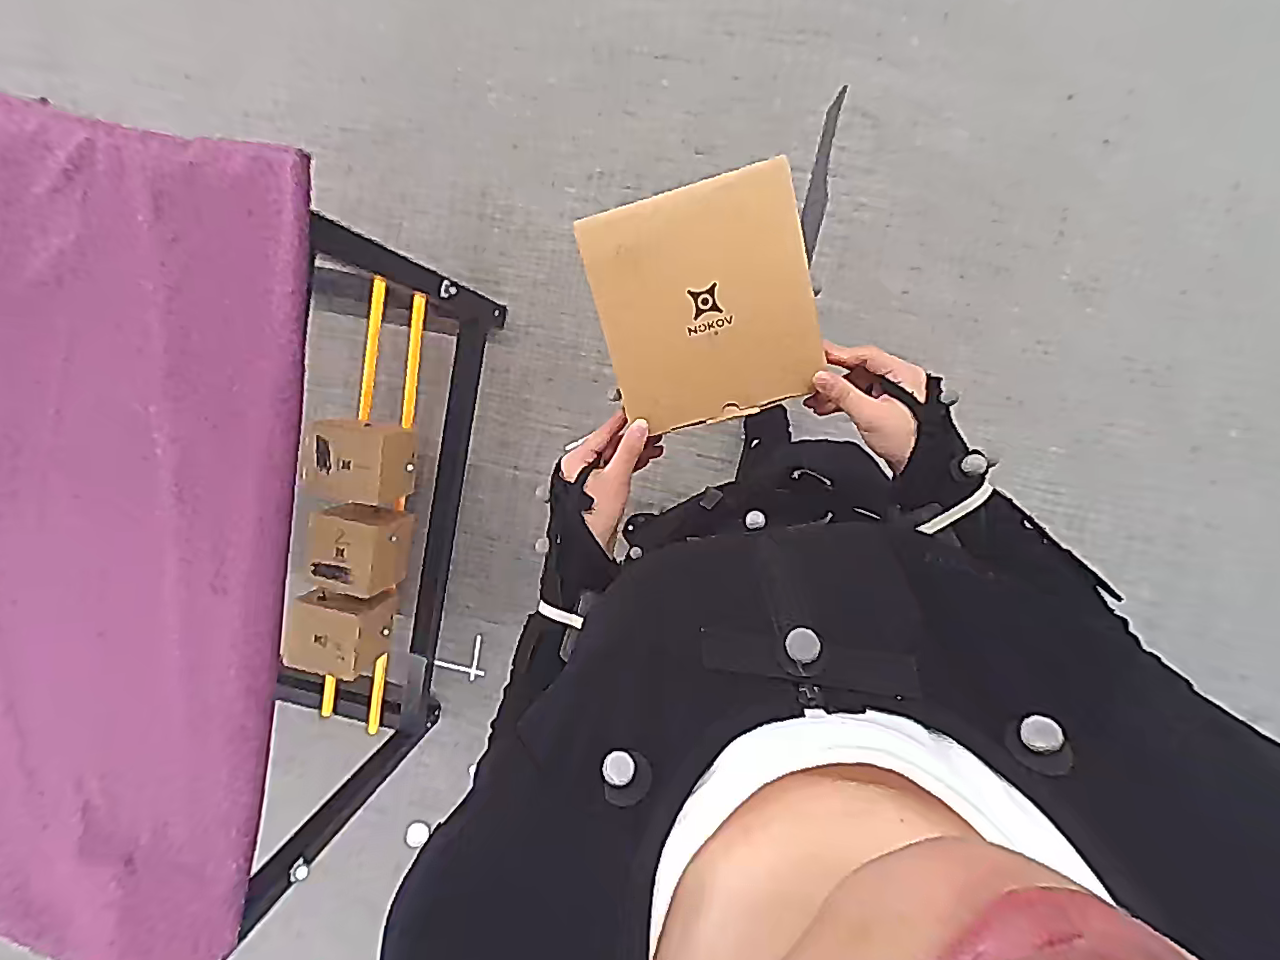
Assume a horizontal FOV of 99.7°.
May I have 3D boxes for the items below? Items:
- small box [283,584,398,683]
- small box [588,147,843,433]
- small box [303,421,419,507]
[{"bbox_3d":[-0.734,0.369,1.335,0.179,0.176,0.168,12,98,3],"label":"small box"},{"bbox_3d":[0.059,-0.155,0.482,0.168,0.176,0.179,-14,104,4],"label":"small box"},{"bbox_3d":[-0.651,-0.045,1.275,0.179,0.176,0.168,10,99,3],"label":"small box"}]
